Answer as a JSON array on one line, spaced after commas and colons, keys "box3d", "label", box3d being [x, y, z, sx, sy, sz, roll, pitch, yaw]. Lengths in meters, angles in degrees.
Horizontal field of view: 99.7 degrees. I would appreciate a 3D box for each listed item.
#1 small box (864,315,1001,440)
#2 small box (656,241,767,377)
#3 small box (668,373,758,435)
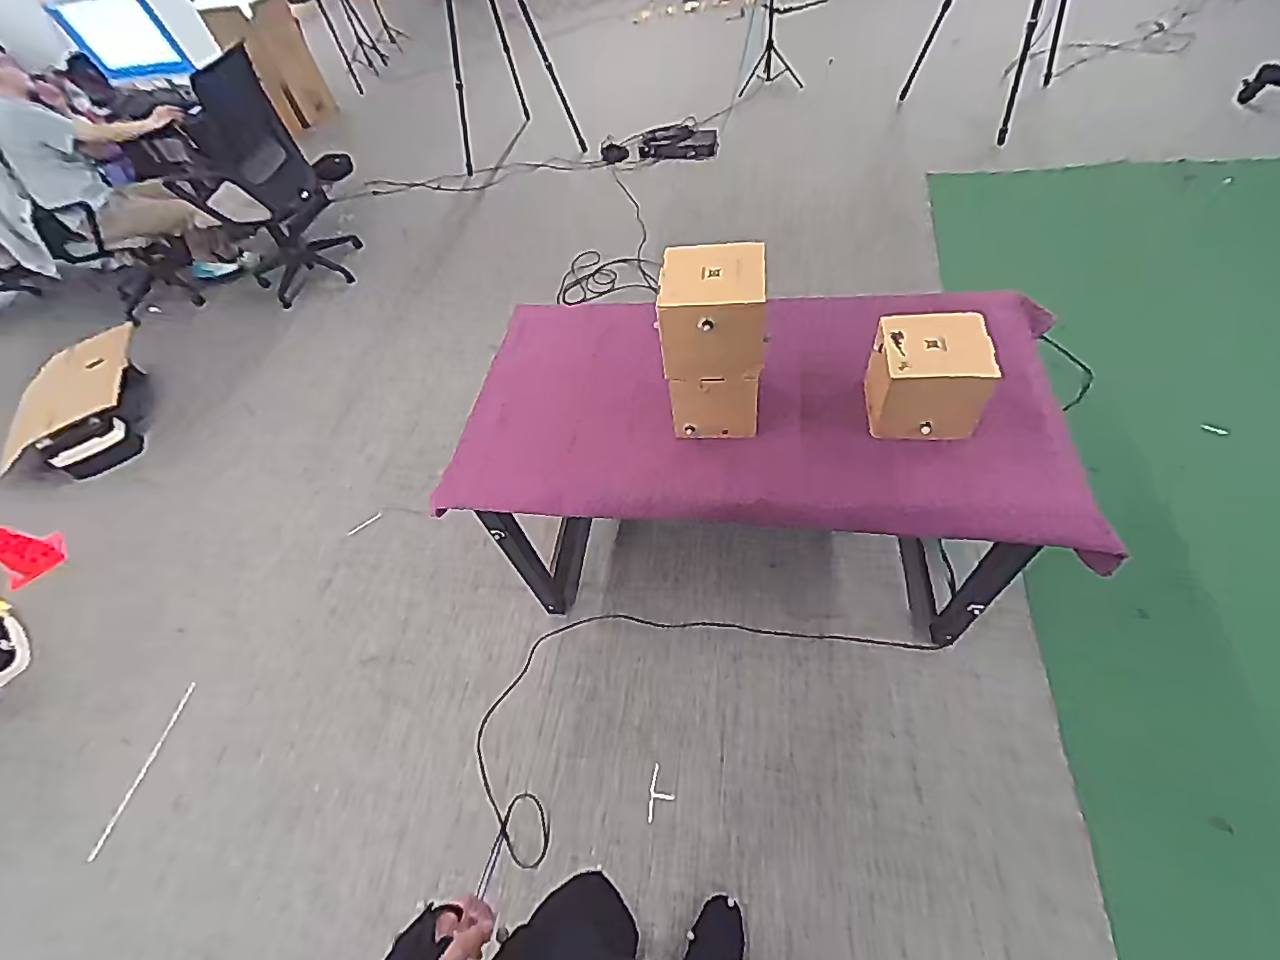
[{"box3d": [0.536, -0.189, 1.018, 0.179, 0.176, 0.168, 3, 55, 11], "label": "small box"}, {"box3d": [0.131, -0.297, 0.958, 0.179, 0.176, 0.168, 2, 56, 10], "label": "small box"}, {"box3d": [0.153, -0.205, 1.091, 0.168, 0.176, 0.179, 2, 54, 10], "label": "small box"}]
